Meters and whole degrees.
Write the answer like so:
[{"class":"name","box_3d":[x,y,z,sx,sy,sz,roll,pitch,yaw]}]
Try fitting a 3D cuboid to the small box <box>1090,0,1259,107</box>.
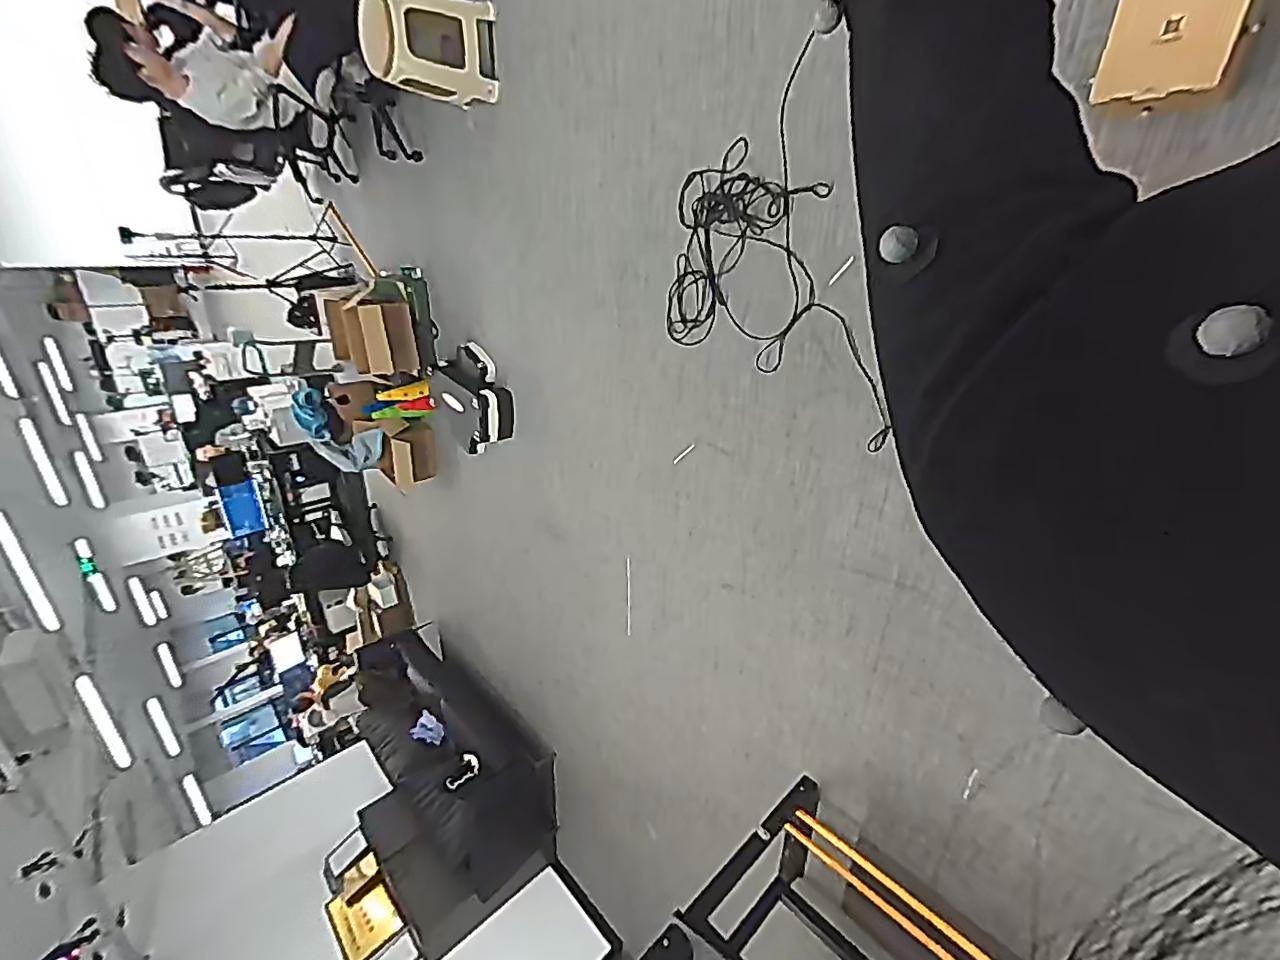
[{"class":"small box","box_3d":[0.898,-0.751,0.904,0.168,0.176,0.179,25,123,42]}]
